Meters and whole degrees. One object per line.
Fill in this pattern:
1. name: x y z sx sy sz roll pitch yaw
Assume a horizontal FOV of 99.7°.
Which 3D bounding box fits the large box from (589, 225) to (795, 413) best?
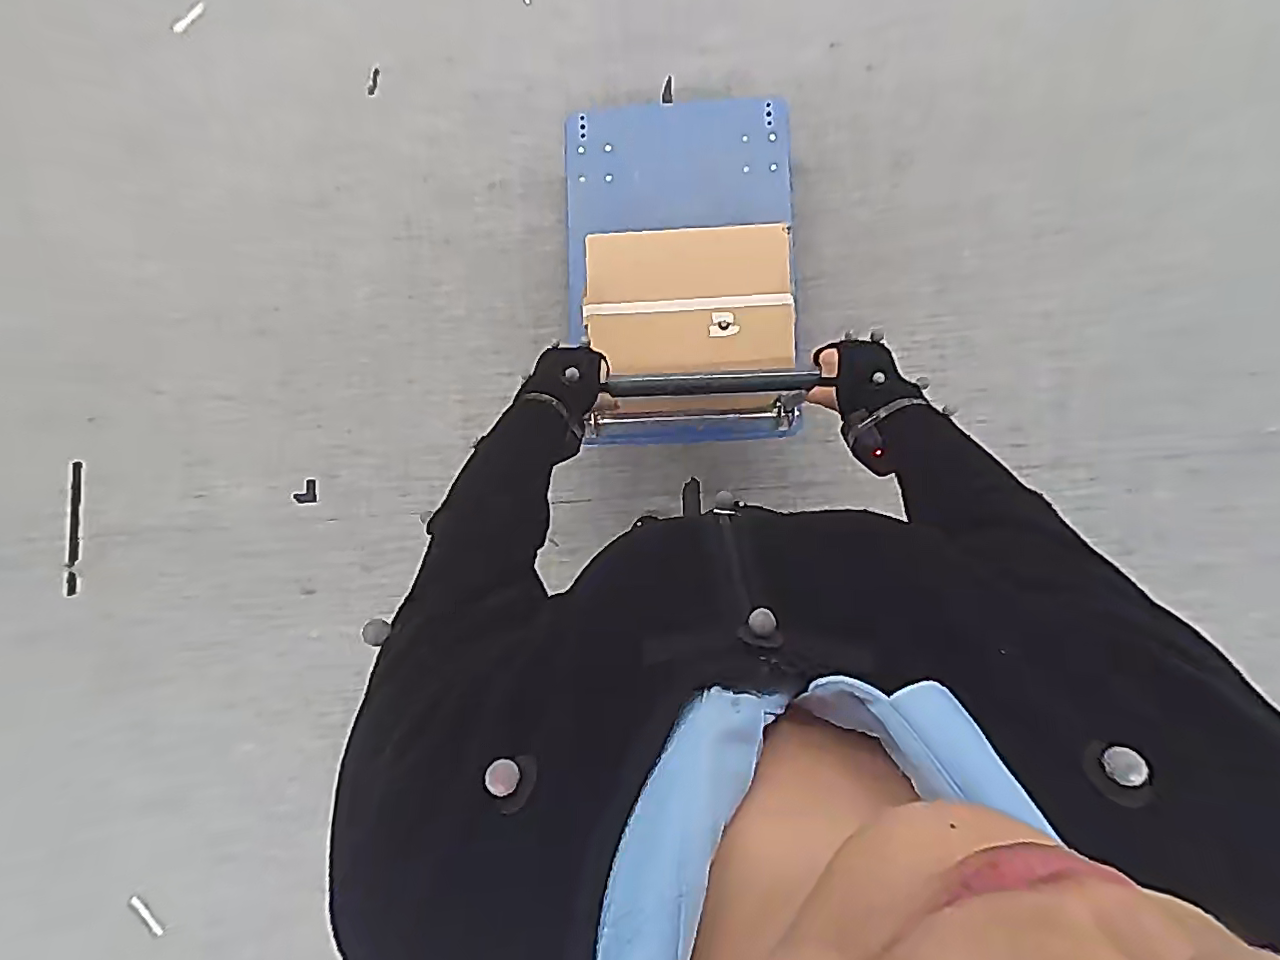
1. large box: 0.106 -0.342 1.229 0.408 0.320 0.320 -2 87 2
